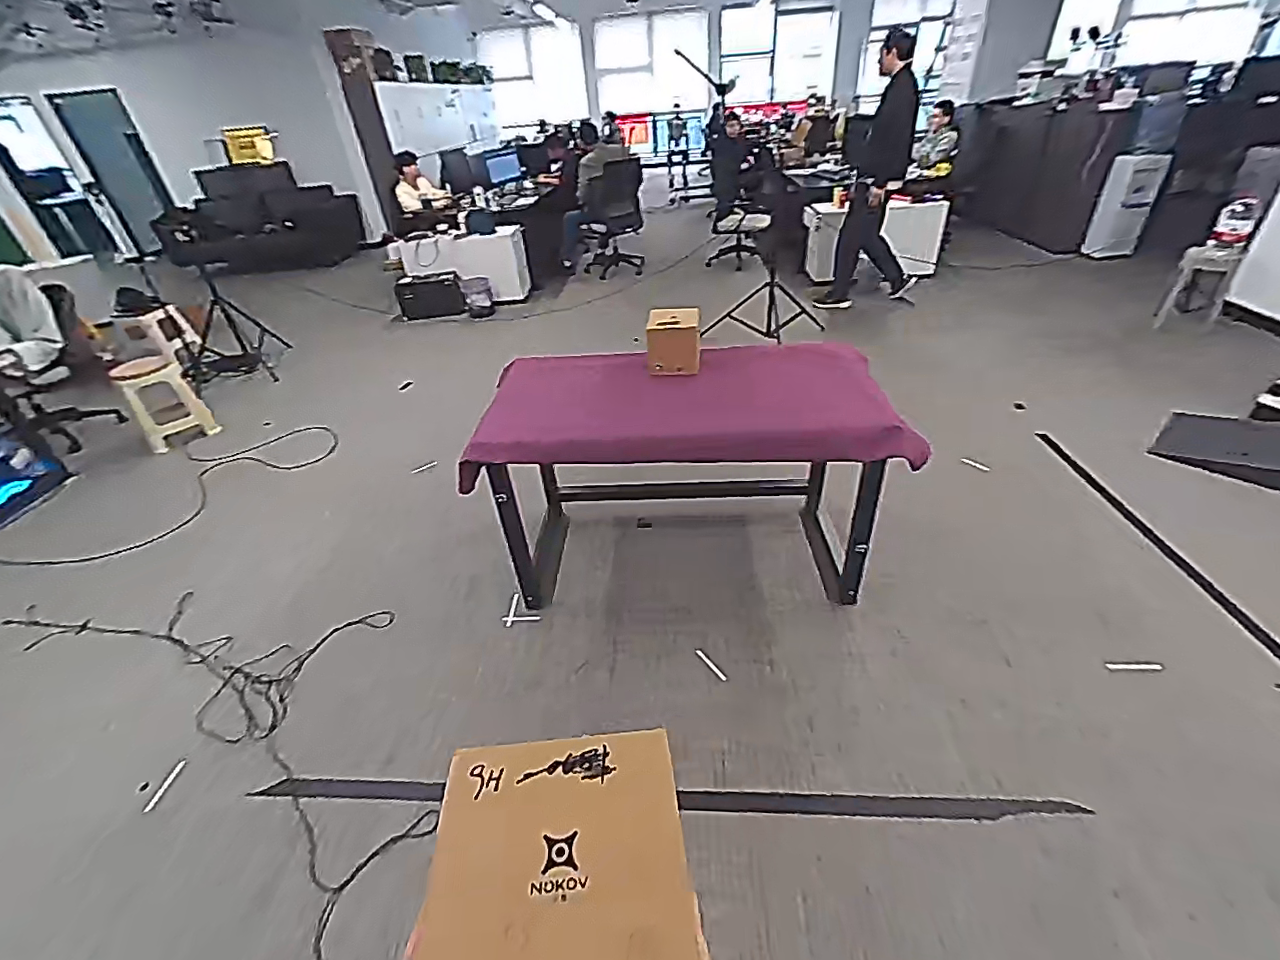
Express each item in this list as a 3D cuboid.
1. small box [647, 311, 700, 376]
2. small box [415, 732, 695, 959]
[{"bbox_3d":[0.119,-0.465,1.852,0.168,0.176,0.179,0,37,8],"label":"small box"},{"bbox_3d":[-0.050,0.317,0.392,0.168,0.176,0.179,-4,34,-4],"label":"small box"}]
